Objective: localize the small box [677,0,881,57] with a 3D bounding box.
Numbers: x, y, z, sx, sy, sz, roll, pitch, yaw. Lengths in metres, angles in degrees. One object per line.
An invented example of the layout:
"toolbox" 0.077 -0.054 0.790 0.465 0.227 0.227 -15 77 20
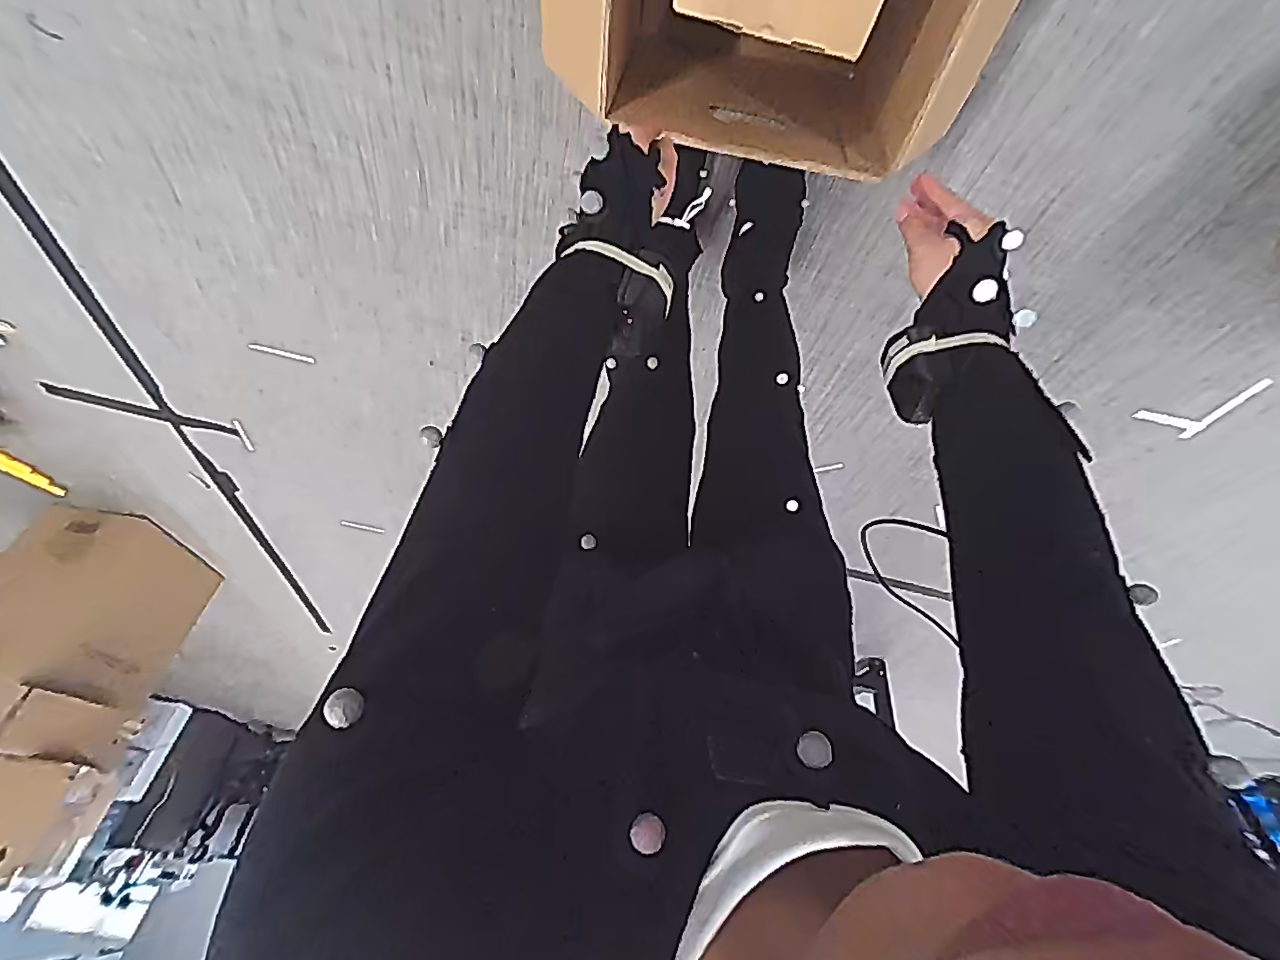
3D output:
"small box" 0.132 -0.492 0.438 0.168 0.176 0.179 12 143 -4

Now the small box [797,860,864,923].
"small box" 0.695 1.517 1.996 0.168 0.176 0.179 17 141 -10
